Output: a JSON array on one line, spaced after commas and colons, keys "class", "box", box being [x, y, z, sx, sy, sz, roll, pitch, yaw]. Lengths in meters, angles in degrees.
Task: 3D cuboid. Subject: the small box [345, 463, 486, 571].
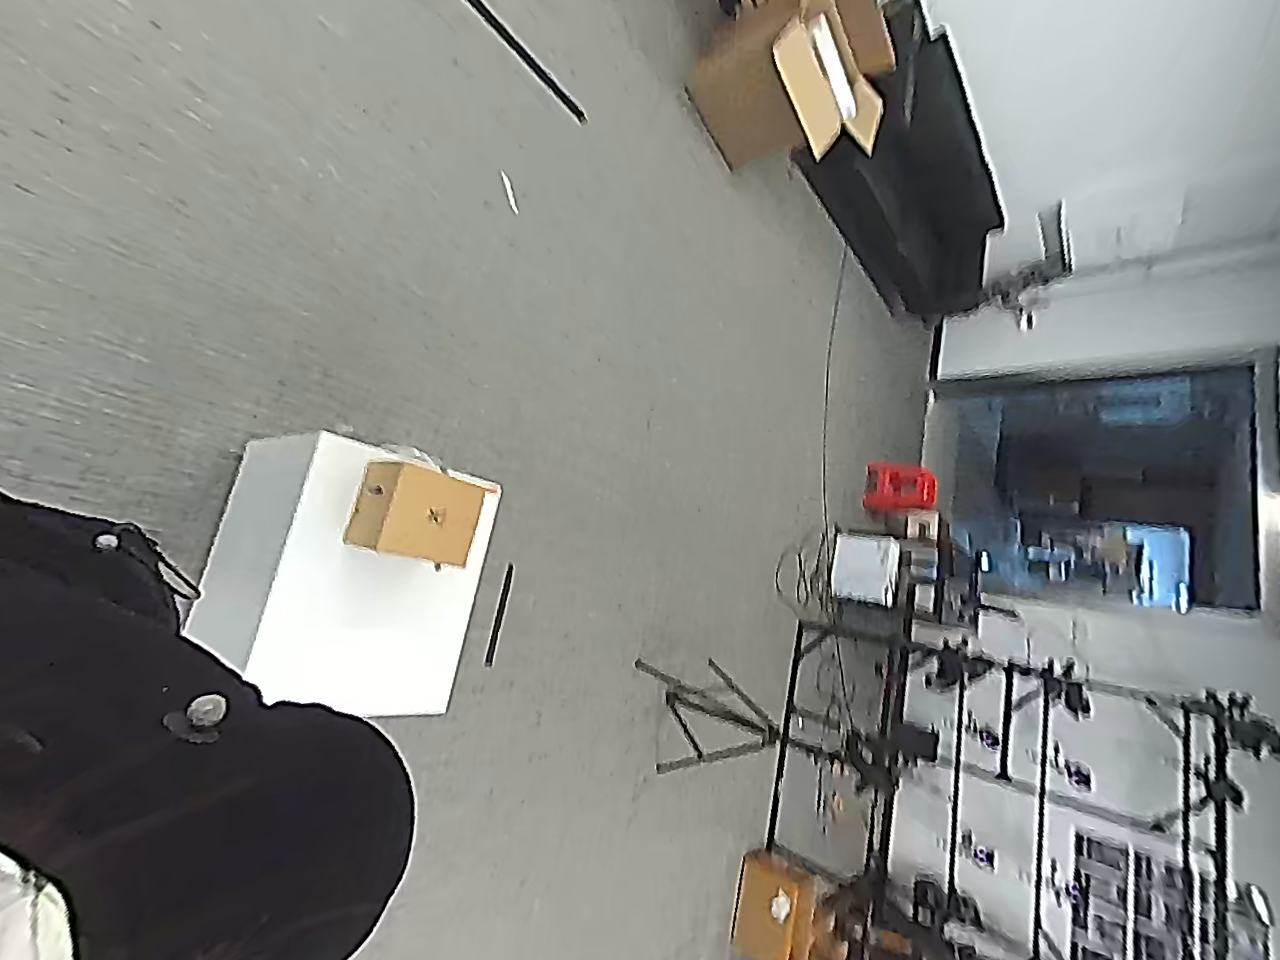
[{"class": "small box", "box": [-0.433, 0.072, 1.039, 0.179, 0.176, 0.168, 24, 73, -46]}]
